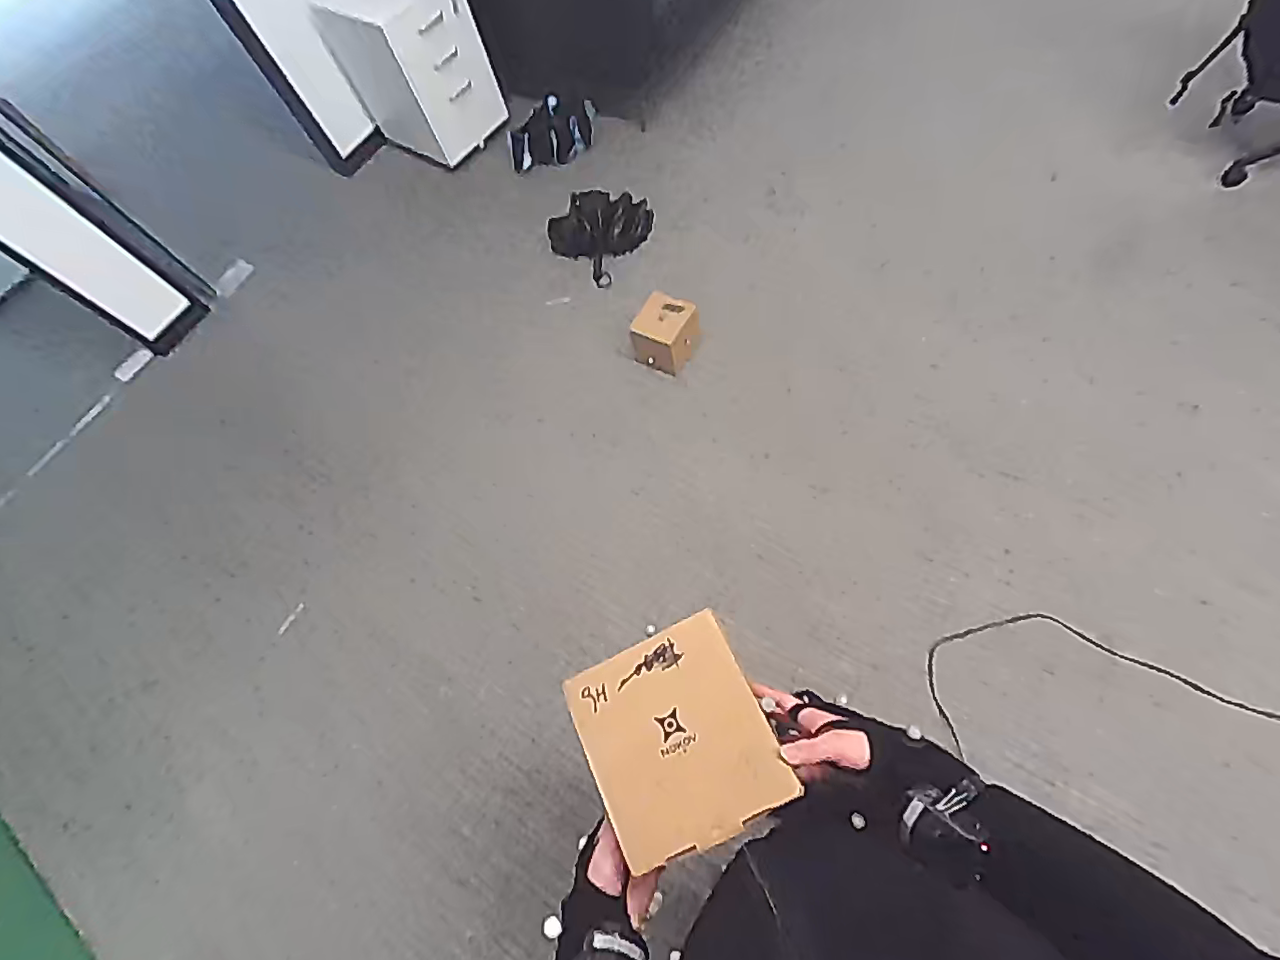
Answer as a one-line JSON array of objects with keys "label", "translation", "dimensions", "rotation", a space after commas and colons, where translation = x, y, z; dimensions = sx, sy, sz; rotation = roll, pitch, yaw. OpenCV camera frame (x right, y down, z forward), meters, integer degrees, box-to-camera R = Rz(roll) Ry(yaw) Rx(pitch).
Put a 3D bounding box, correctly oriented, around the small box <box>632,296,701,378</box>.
[{"label": "small box", "translation": [0.096, -0.478, 1.821], "dimensions": [0.168, 0.176, 0.179], "rotation": [26, 74, 22]}]
